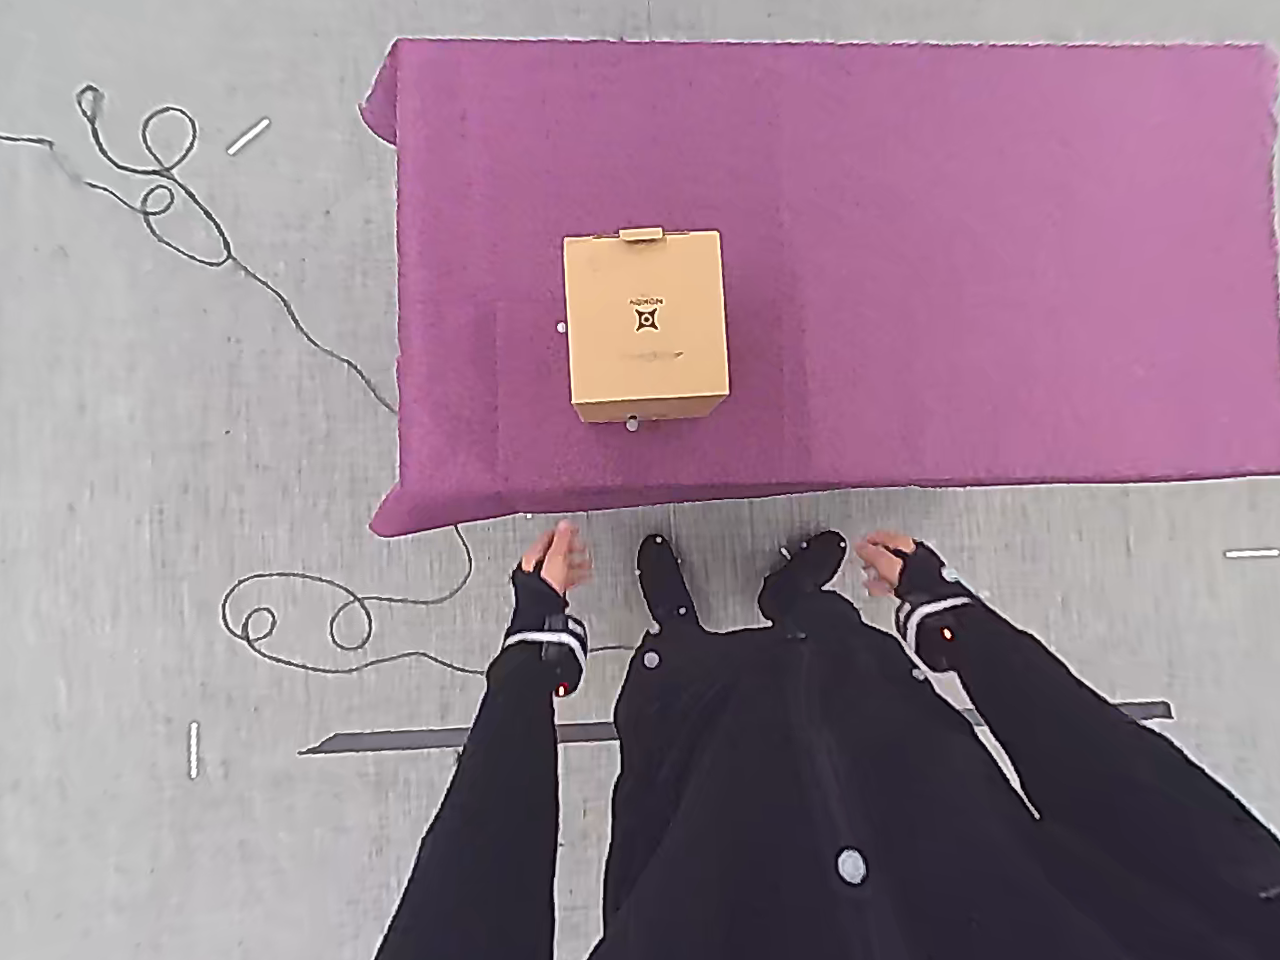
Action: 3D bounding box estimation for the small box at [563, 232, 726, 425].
[{"bbox_3d":[0.001,-0.165,0.632,0.168,0.176,0.179,-3,88,-1],"label":"small box"}]
